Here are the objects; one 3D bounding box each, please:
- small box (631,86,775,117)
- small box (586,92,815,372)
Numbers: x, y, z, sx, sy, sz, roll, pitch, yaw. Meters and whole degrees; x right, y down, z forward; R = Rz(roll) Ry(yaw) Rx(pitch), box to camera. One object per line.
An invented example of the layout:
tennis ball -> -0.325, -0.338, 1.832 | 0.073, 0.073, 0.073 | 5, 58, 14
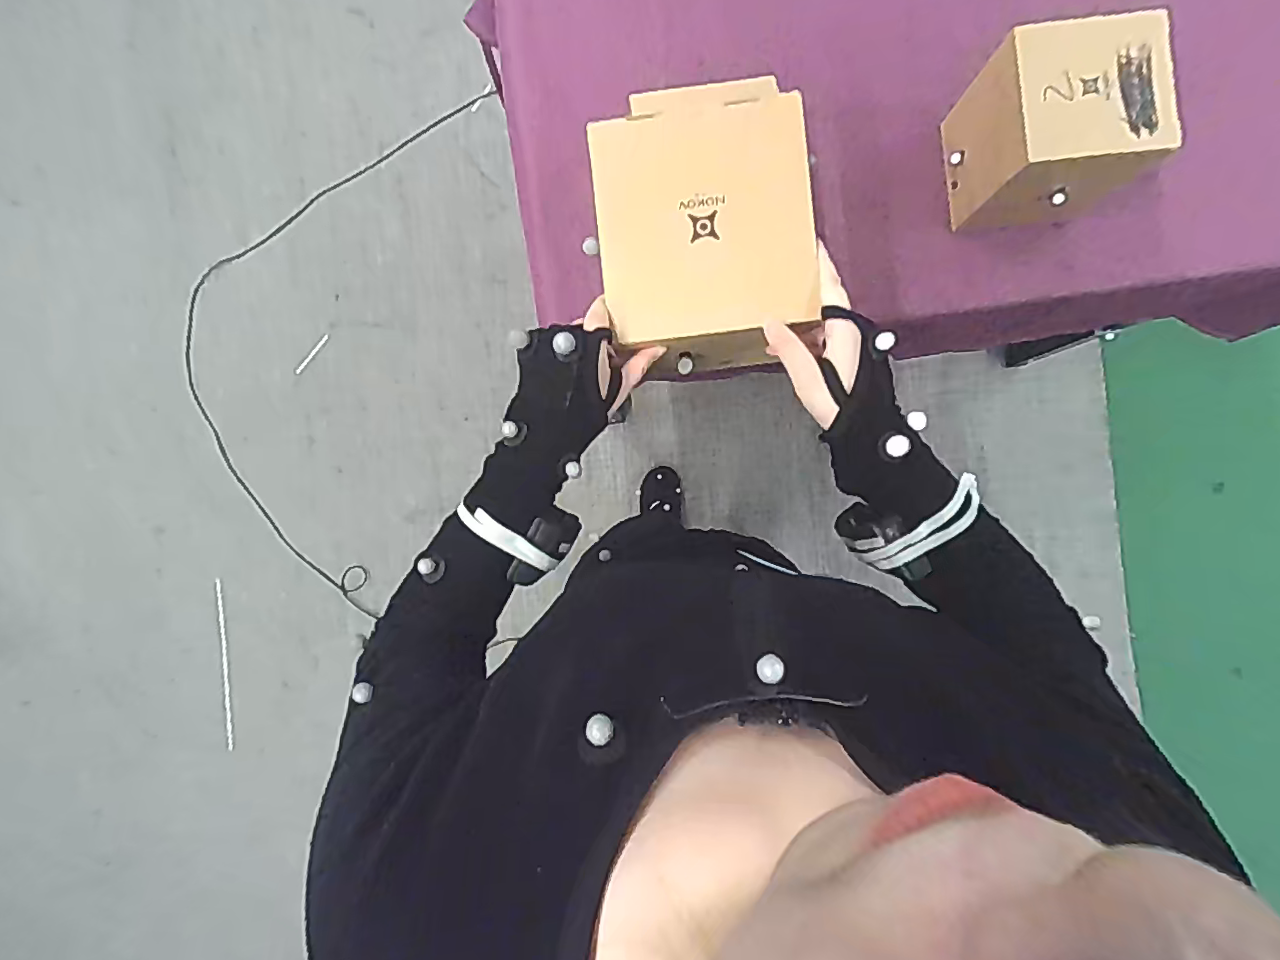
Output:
small box -> 0.083, -0.374, 0.718 | 0.179, 0.176, 0.168 | -6, 87, 2
small box -> 0.053, -0.201, 0.496 | 0.168, 0.176, 0.179 | -6, 90, 4
